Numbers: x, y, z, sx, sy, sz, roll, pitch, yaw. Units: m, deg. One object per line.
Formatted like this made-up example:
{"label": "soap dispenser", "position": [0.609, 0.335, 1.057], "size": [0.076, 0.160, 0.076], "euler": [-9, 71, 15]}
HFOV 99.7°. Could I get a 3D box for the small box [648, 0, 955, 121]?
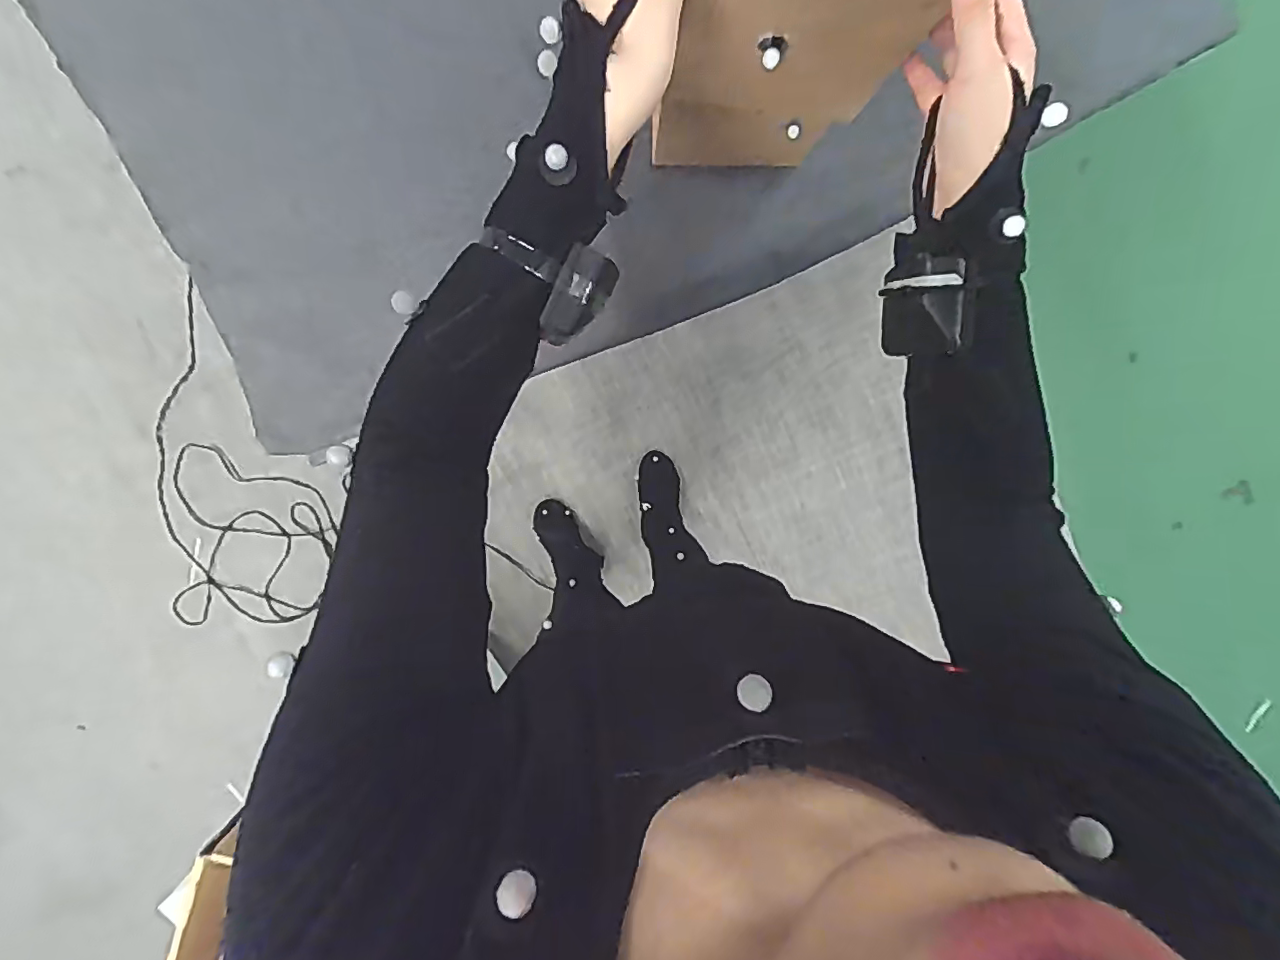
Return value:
{"label": "small box", "position": [0.103, -0.377, 0.370], "size": [0.179, 0.176, 0.168], "euler": [5, 100, -2]}
